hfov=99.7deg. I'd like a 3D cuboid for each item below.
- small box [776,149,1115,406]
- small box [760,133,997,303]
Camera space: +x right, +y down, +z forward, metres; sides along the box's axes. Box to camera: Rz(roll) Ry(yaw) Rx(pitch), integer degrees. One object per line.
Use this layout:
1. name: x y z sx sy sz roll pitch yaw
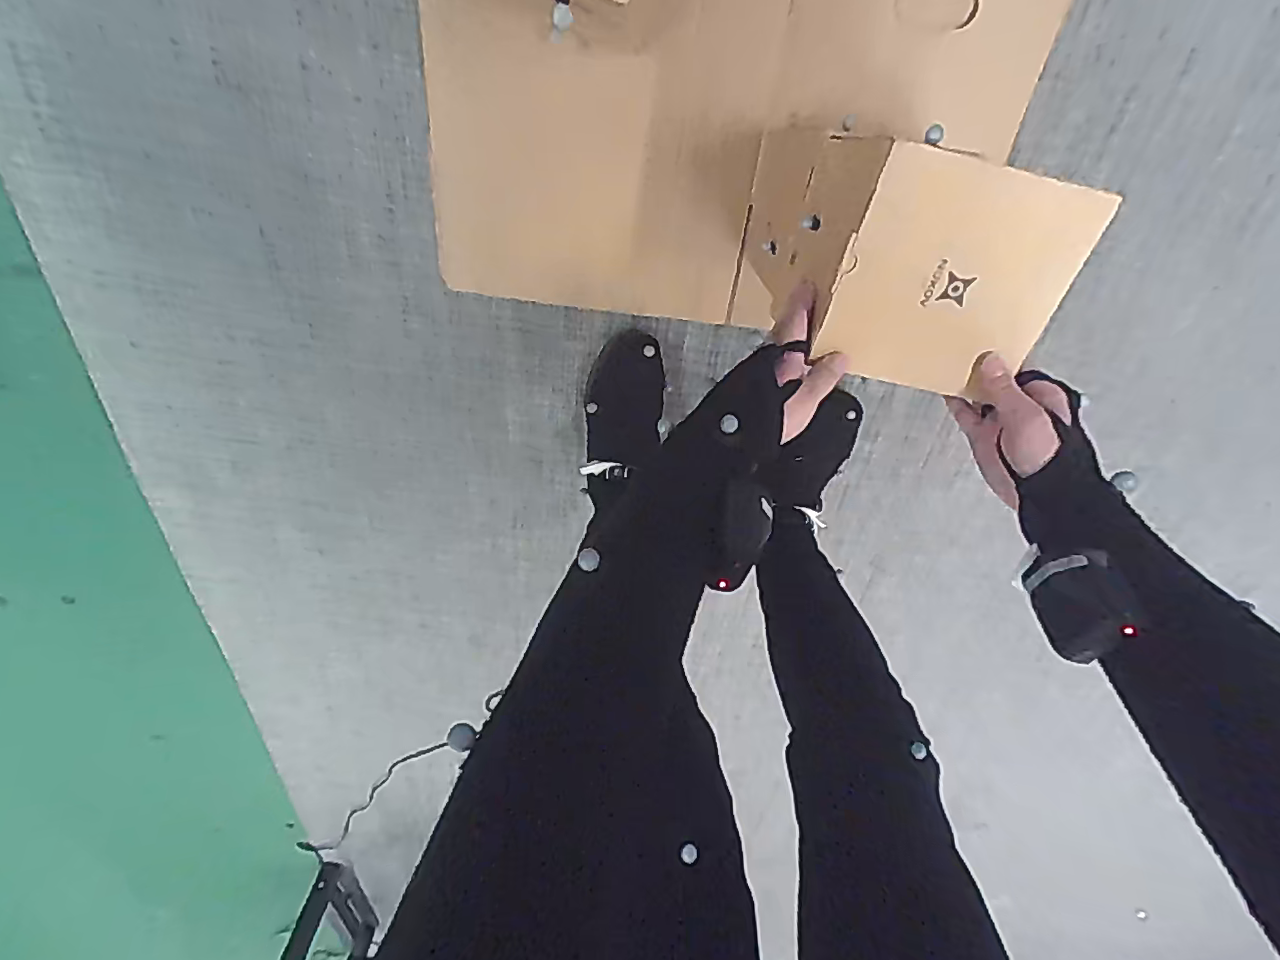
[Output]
1. small box: 0.241 -0.188 0.485 0.179 0.176 0.168 10 122 -3
2. small box: 0.248 -0.287 0.621 0.179 0.176 0.168 8 123 -3
